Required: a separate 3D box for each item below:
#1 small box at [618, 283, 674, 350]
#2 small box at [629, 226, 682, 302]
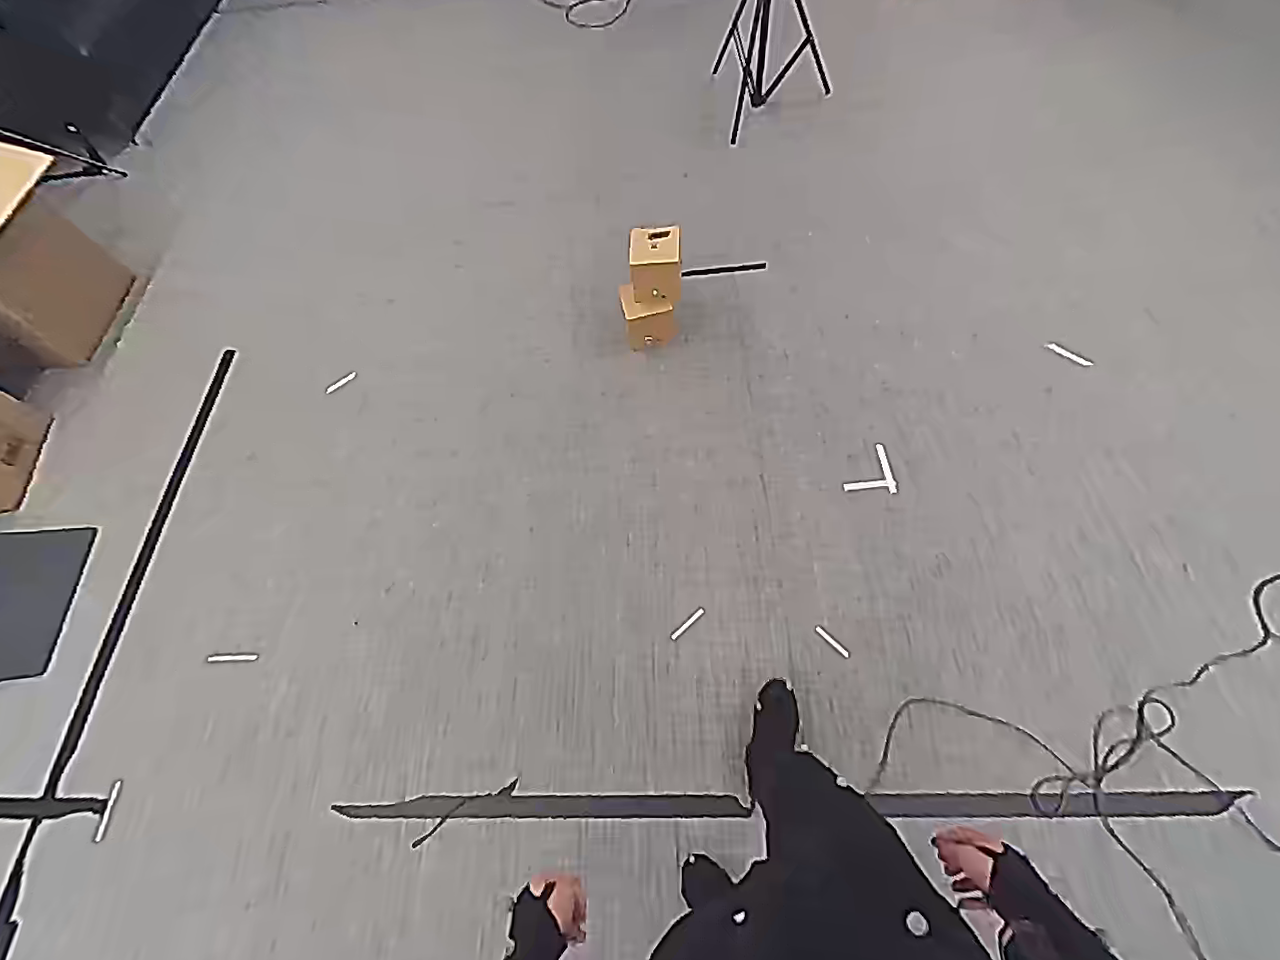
[{"bbox_3d":[0.023,-0.606,1.974,0.168,0.176,0.179,-14,62,0],"label":"small box"},{"bbox_3d":[0.057,-0.737,1.852,0.168,0.176,0.179,-1,63,7],"label":"small box"}]
